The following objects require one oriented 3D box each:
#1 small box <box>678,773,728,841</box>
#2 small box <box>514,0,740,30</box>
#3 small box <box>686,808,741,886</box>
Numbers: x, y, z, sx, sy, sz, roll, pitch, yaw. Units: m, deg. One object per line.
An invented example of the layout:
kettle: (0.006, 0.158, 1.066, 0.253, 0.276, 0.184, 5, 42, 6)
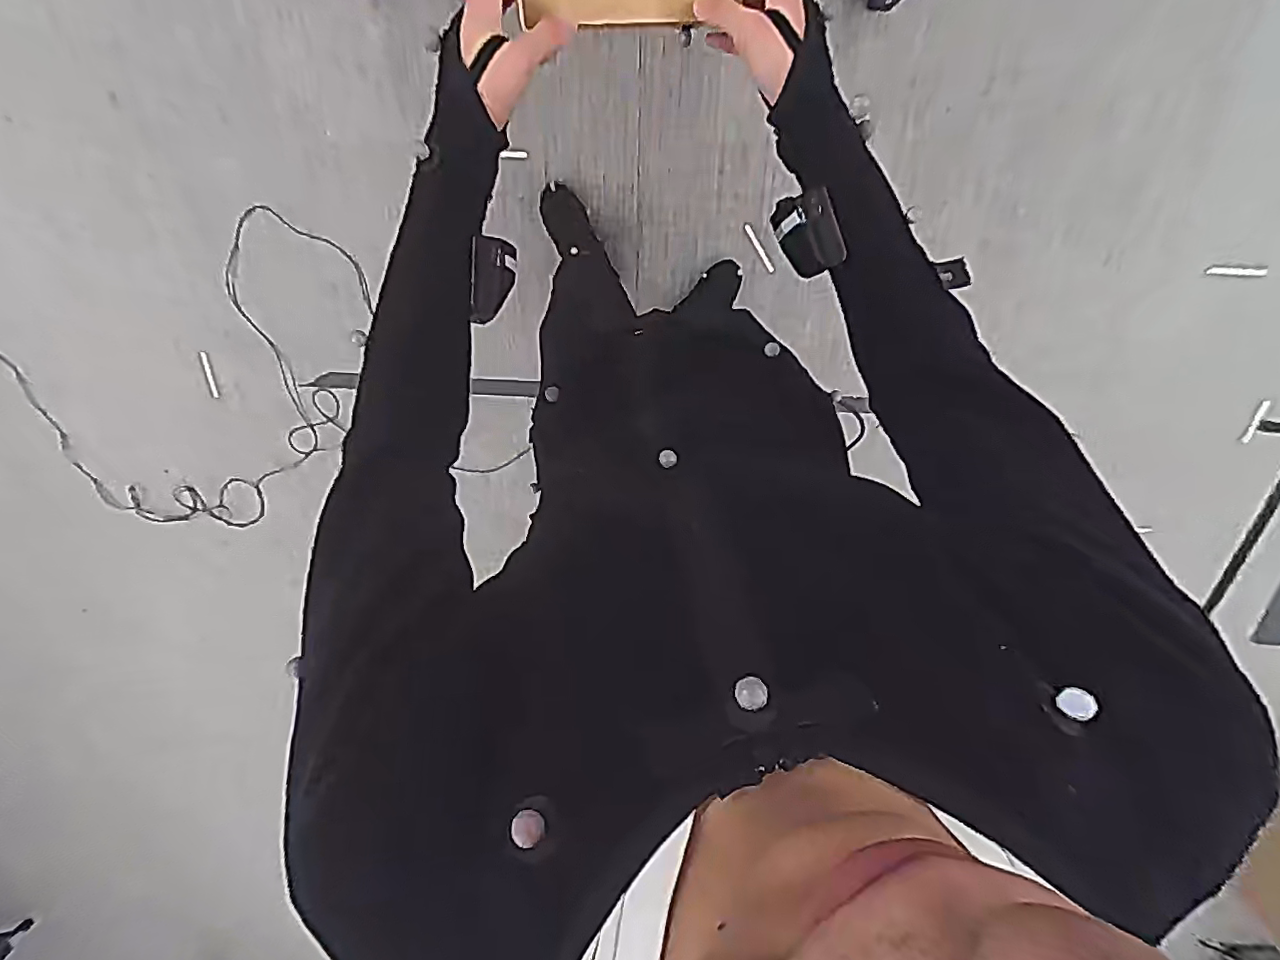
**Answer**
small box: (0.241, 1.253, 2.079, 0.179, 0.176, 0.168, -3, 116, 1)
small box: (-0.023, -0.468, 0.429, 0.179, 0.176, 0.168, -9, 130, -8)
small box: (0.256, 1.304, 1.921, 0.168, 0.176, 0.179, 0, 116, -1)
